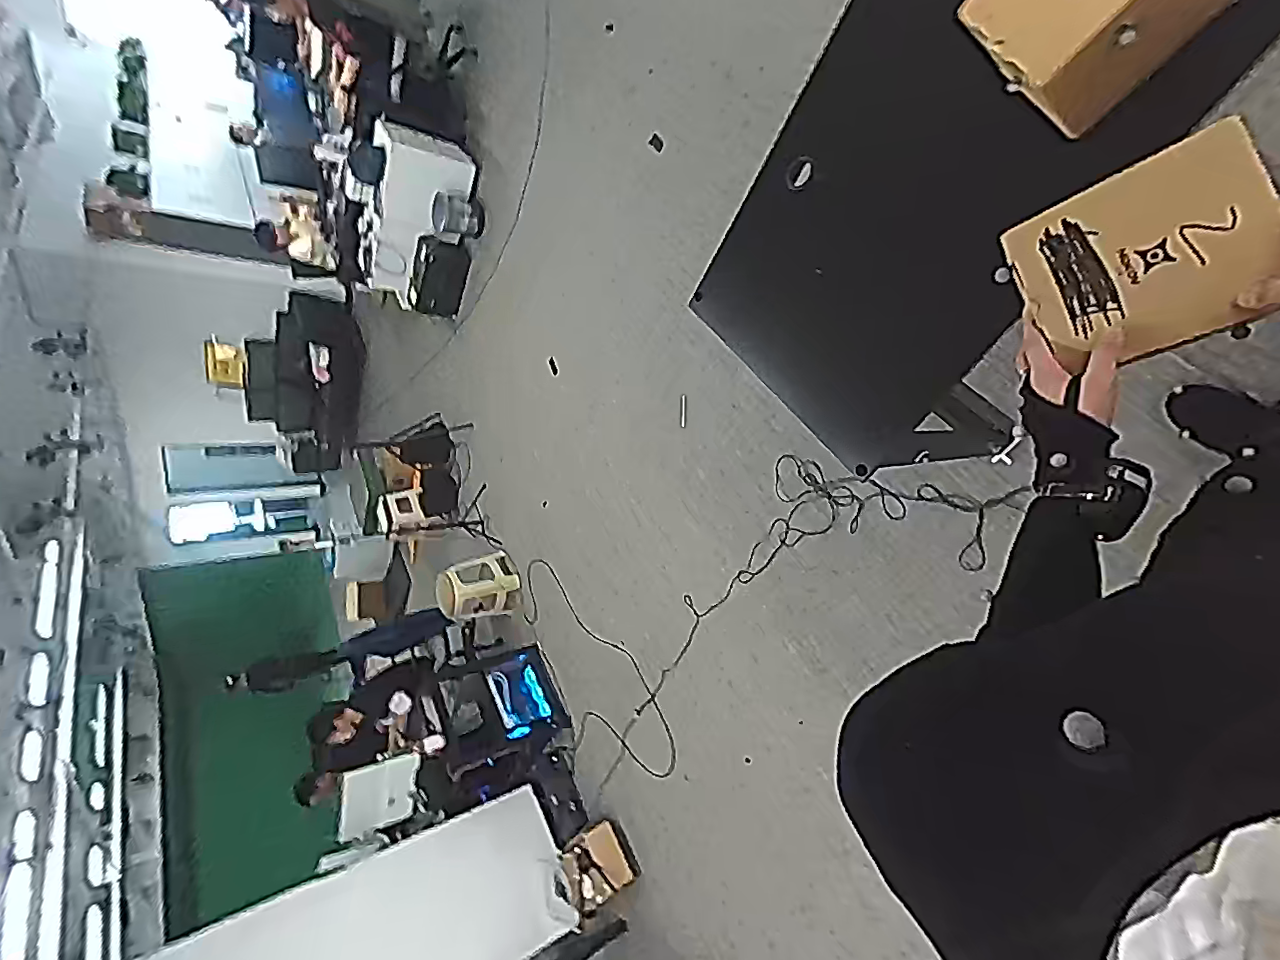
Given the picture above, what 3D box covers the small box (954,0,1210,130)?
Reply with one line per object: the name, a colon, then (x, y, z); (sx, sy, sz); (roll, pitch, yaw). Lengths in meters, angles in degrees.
small box: (0.530, -0.570, 0.645); (0.179, 0.176, 0.168); (-46, 59, 44)
